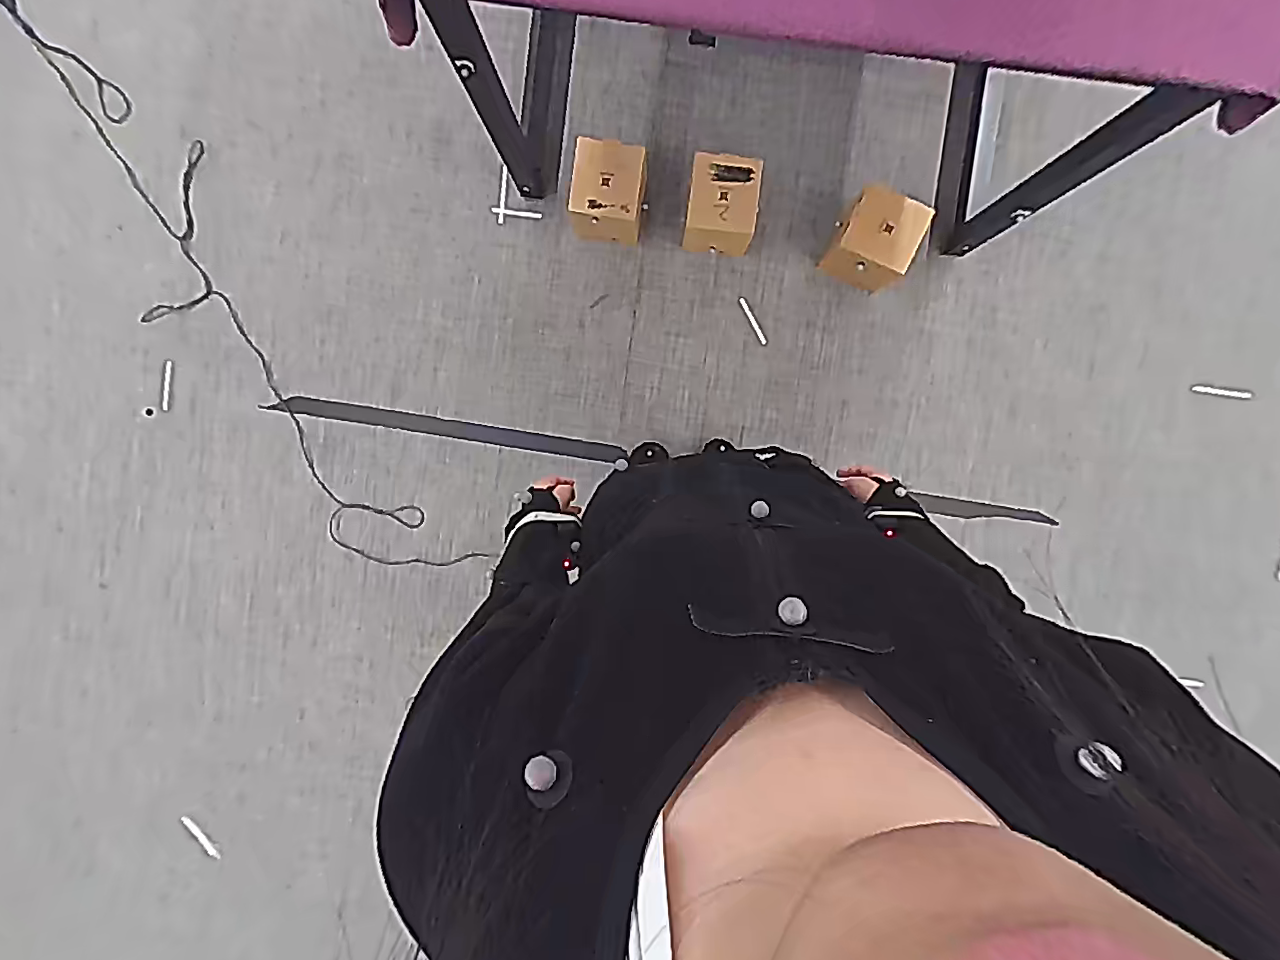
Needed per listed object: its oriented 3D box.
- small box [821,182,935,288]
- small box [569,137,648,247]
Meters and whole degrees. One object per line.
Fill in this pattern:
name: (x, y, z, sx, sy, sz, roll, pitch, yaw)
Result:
small box: (0.588, -0.603, 1.360, 0.179, 0.176, 0.168, 25, 95, 1)
small box: (-0.076, -0.719, 1.364, 0.168, 0.176, 0.179, 10, 93, 0)
